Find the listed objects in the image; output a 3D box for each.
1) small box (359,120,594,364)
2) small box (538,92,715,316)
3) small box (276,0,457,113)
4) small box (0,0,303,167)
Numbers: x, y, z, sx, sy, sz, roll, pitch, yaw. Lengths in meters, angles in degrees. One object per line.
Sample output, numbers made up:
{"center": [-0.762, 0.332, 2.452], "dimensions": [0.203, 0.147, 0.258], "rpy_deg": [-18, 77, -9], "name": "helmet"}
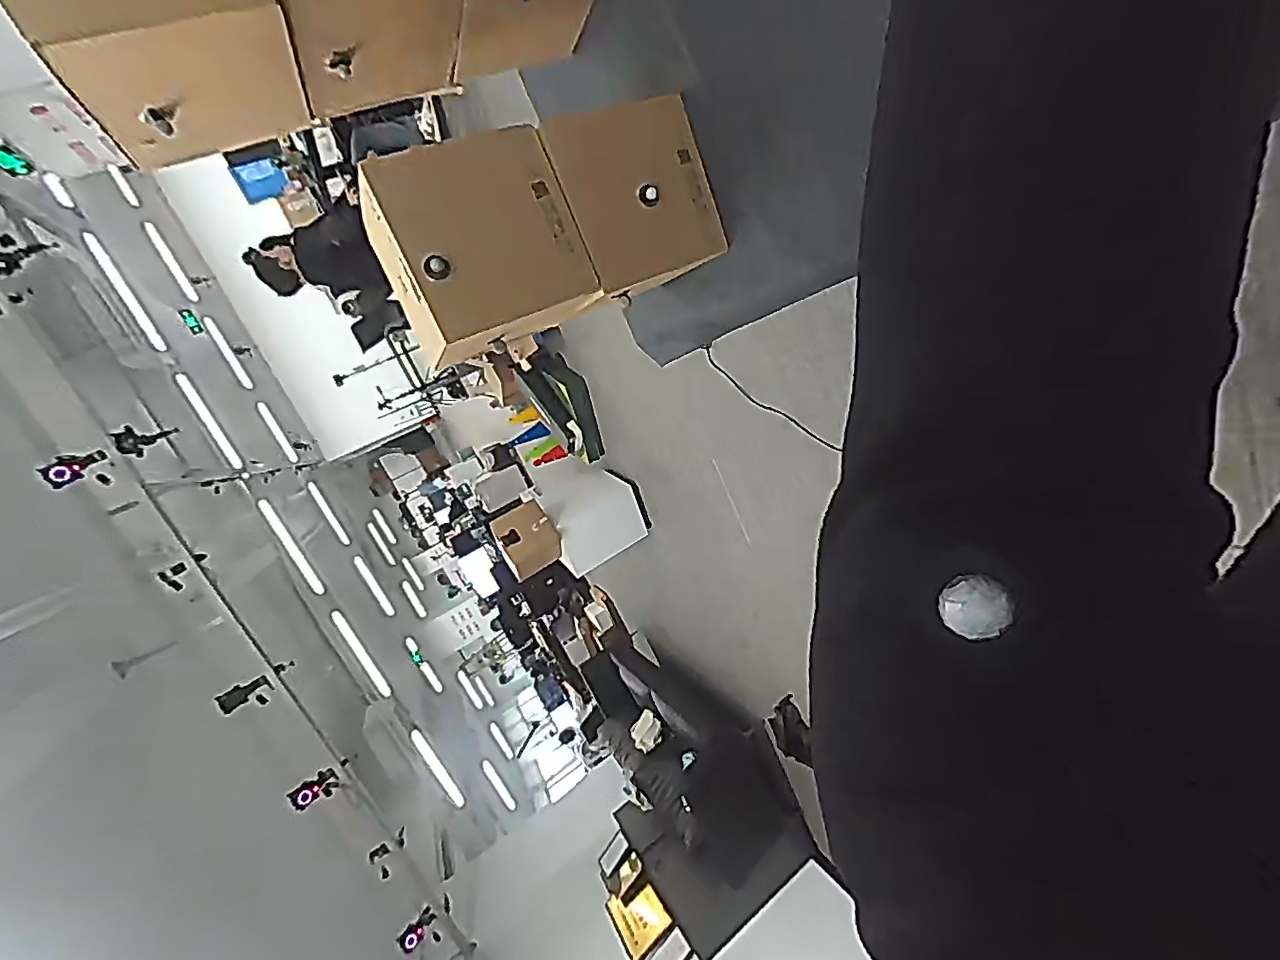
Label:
{"center": [-0.169, -0.241, 0.576], "dimensions": [0.168, 0.176, 0.179], "rpy_deg": [65, 160, -13], "name": "small box"}
{"center": [-0.032, -0.312, 0.630], "dimensions": [0.179, 0.176, 0.168], "rpy_deg": [12, 128, 64], "name": "small box"}
{"center": [-0.287, -0.494, 0.504], "dimensions": [0.168, 0.176, 0.179], "rpy_deg": [61, 159, -12], "name": "small box"}
{"center": [-0.412, -0.404, 0.448], "dimensions": [0.168, 0.176, 0.179], "rpy_deg": [62, 159, -14], "name": "small box"}
